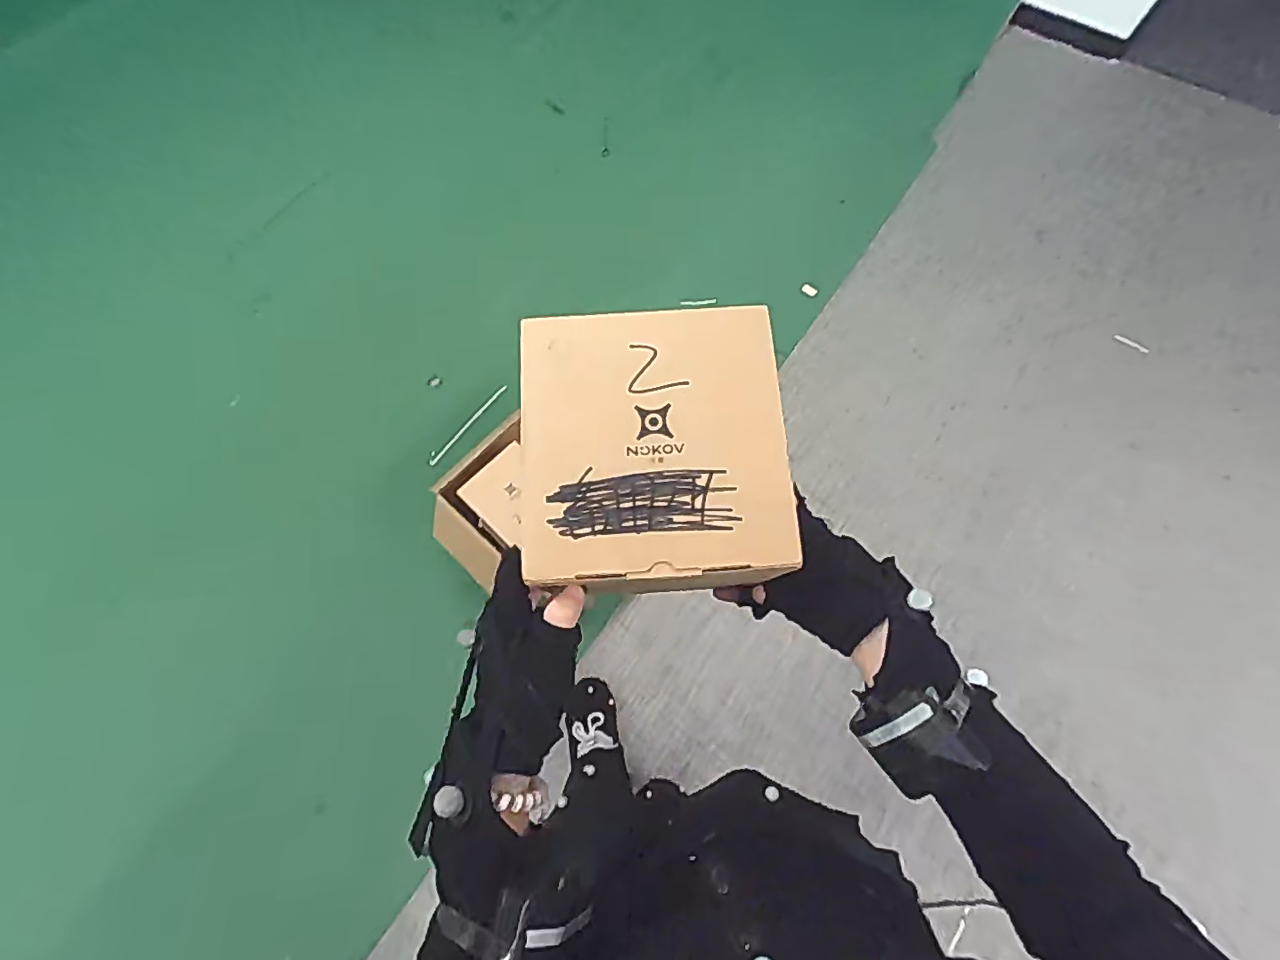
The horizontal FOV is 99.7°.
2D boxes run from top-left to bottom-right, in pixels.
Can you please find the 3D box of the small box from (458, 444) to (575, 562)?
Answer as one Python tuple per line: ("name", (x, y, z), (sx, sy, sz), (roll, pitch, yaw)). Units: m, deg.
("small box", (-0.264, 0.059, 1.198), (0.179, 0.176, 0.168), (42, 75, 14))
